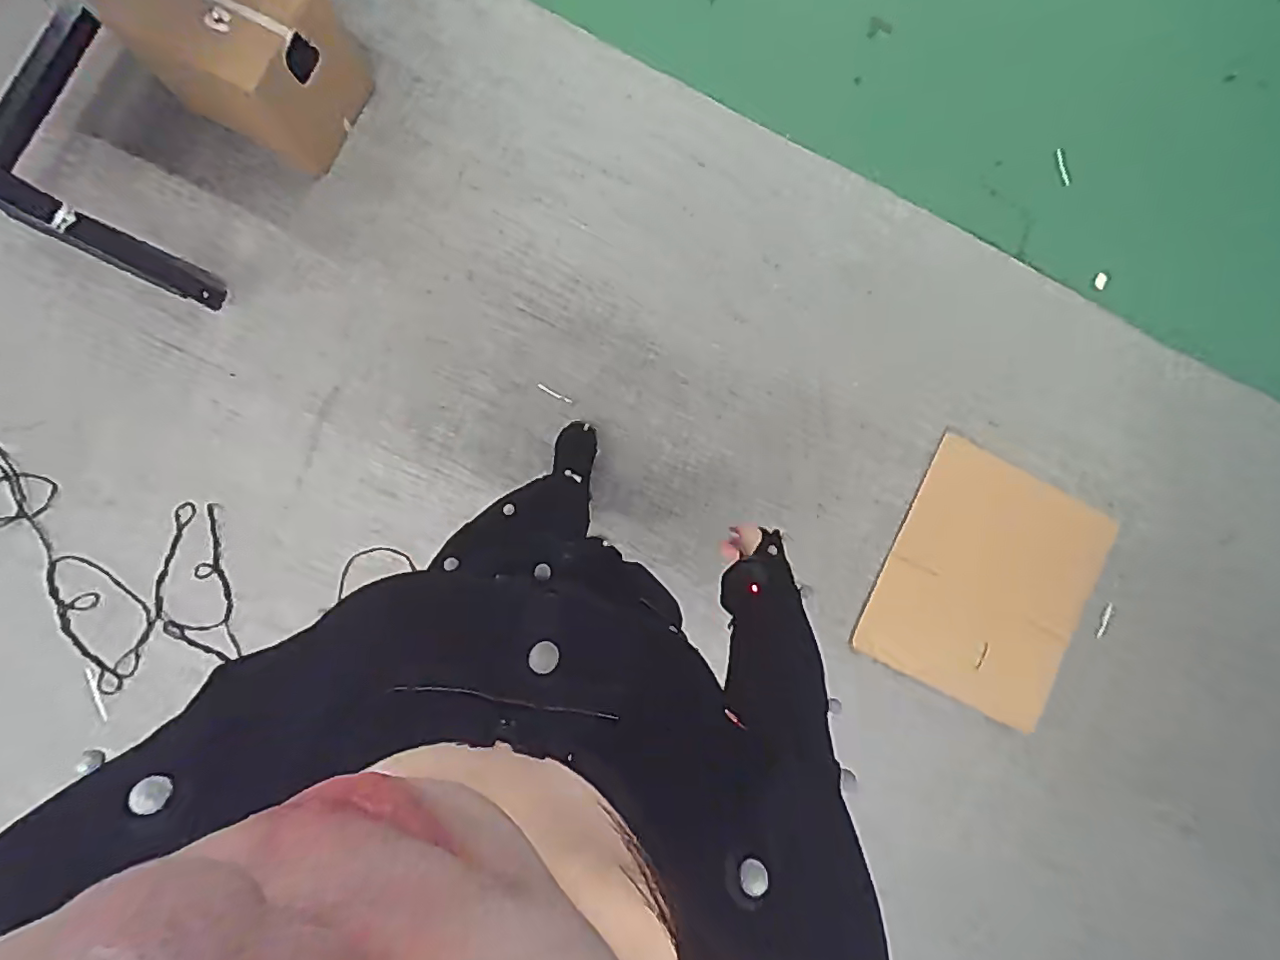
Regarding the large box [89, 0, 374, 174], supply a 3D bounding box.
[{"bbox_3d":[-0.965,-1.061,1.338,0.408,0.320,0.320,26,86,-4],"label":"large box"}]
